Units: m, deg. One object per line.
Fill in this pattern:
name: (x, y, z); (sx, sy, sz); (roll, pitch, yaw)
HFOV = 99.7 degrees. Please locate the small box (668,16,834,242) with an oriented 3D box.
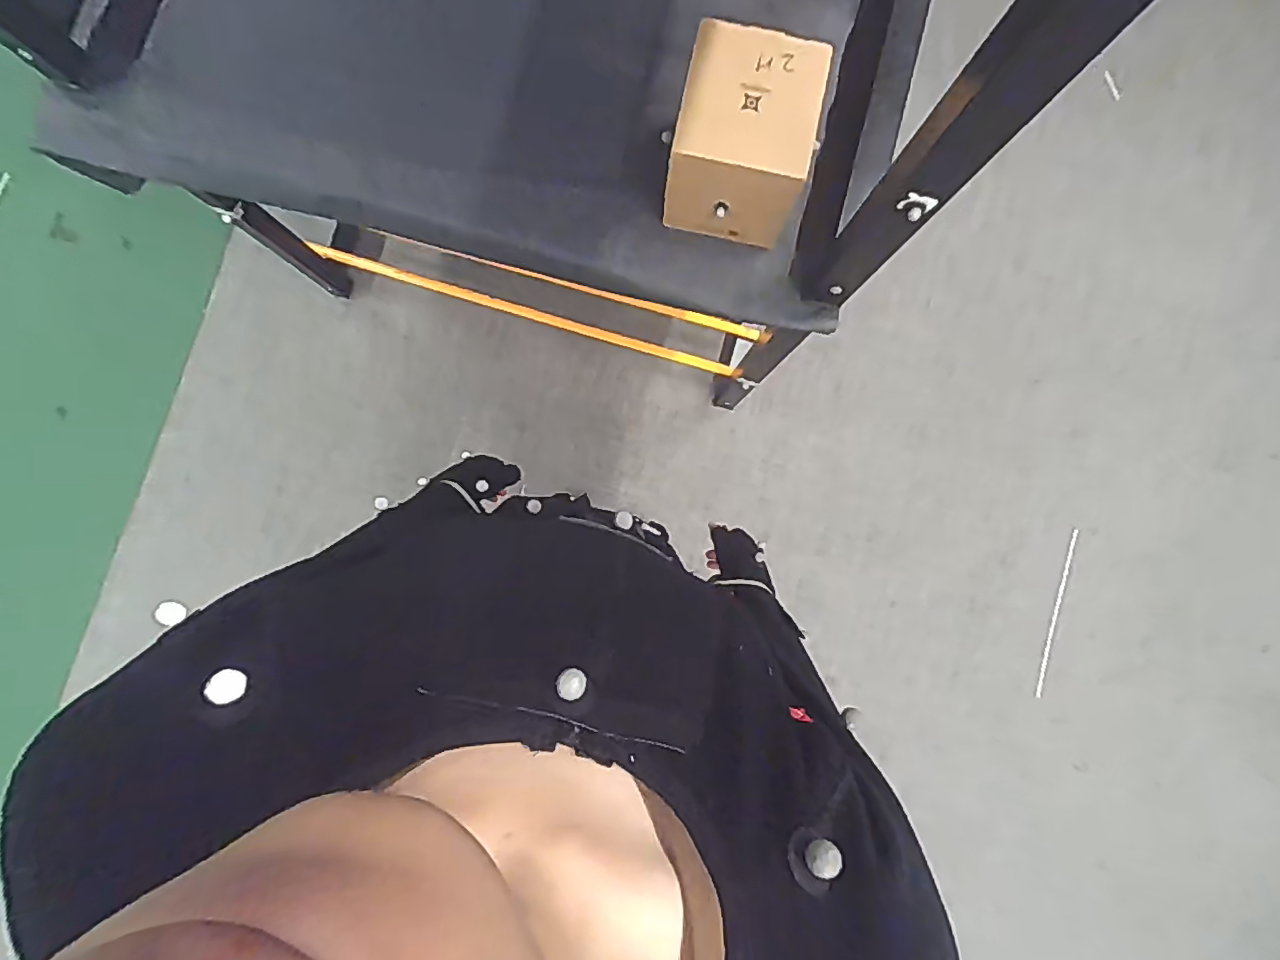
small box: (0.135, -0.450, 0.723); (0.168, 0.176, 0.179); (12, 86, -1)
